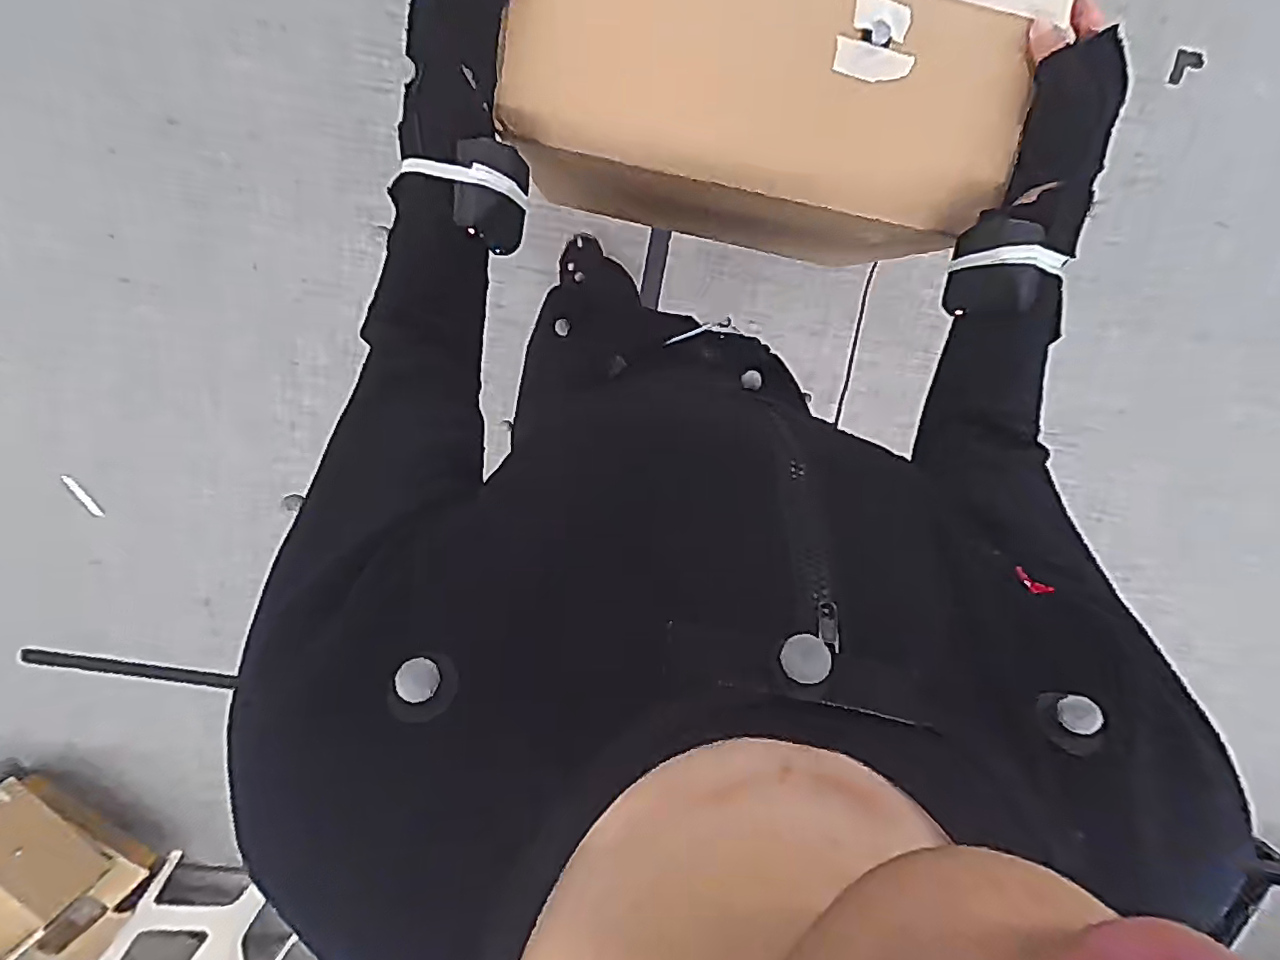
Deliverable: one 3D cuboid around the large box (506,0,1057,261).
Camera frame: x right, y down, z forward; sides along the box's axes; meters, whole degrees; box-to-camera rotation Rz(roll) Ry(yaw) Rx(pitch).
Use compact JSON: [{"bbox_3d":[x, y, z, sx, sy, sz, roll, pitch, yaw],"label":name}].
[{"bbox_3d":[0.106,-0.422,0.531,0.408,0.320,0.320,9,108,-6],"label":"large box"}]
